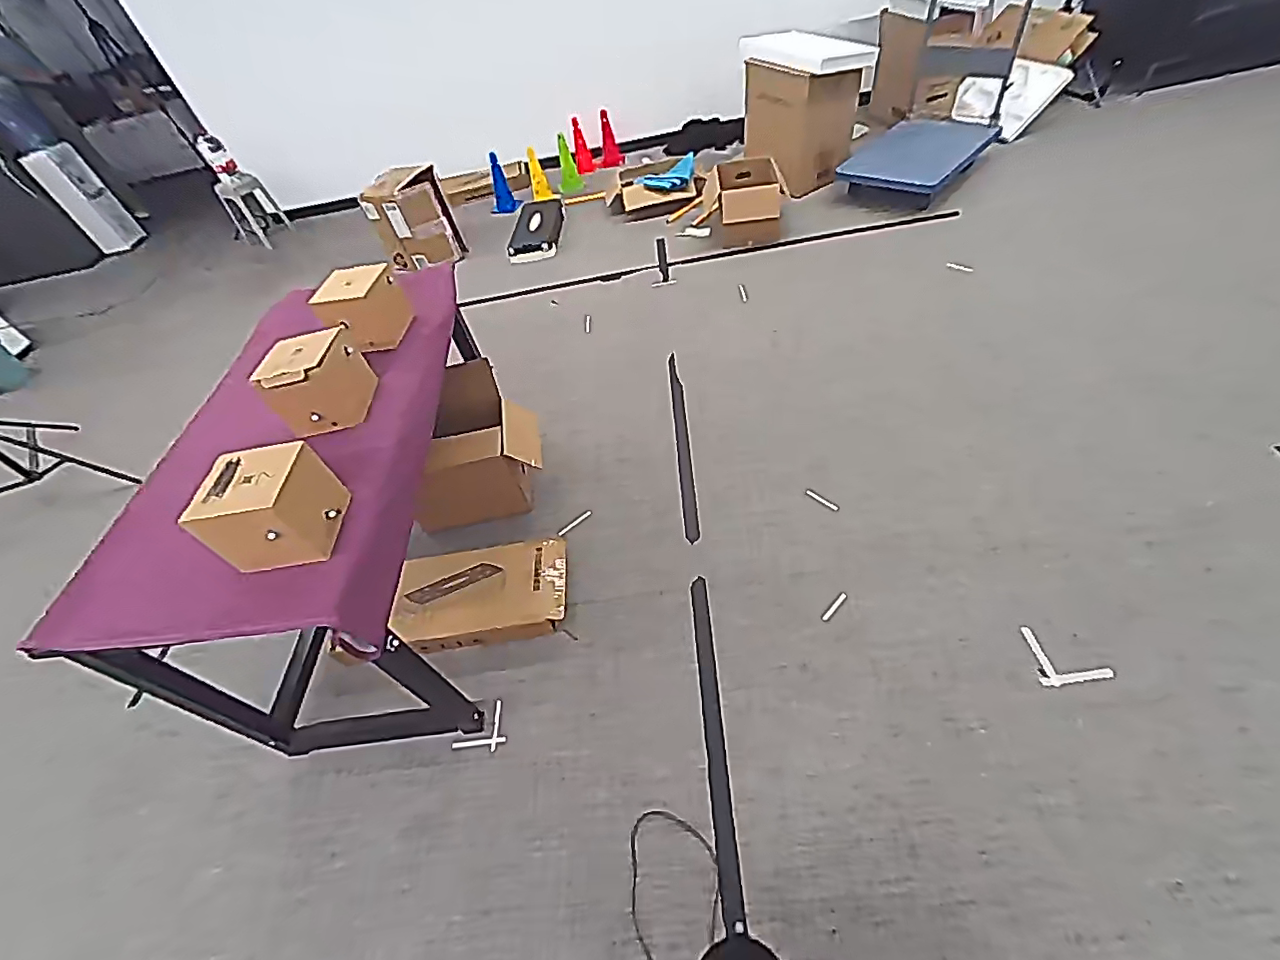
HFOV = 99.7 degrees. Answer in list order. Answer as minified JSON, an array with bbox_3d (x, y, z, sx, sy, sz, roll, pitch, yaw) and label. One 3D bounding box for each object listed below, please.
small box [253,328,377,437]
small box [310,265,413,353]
[{"bbox_3d":[-0.762,-0.231,1.294,0.168,0.176,0.179,-11,48,6],"label":"small box"},{"bbox_3d":[-0.763,-0.469,1.506,0.168,0.176,0.179,-4,48,9],"label":"small box"}]
